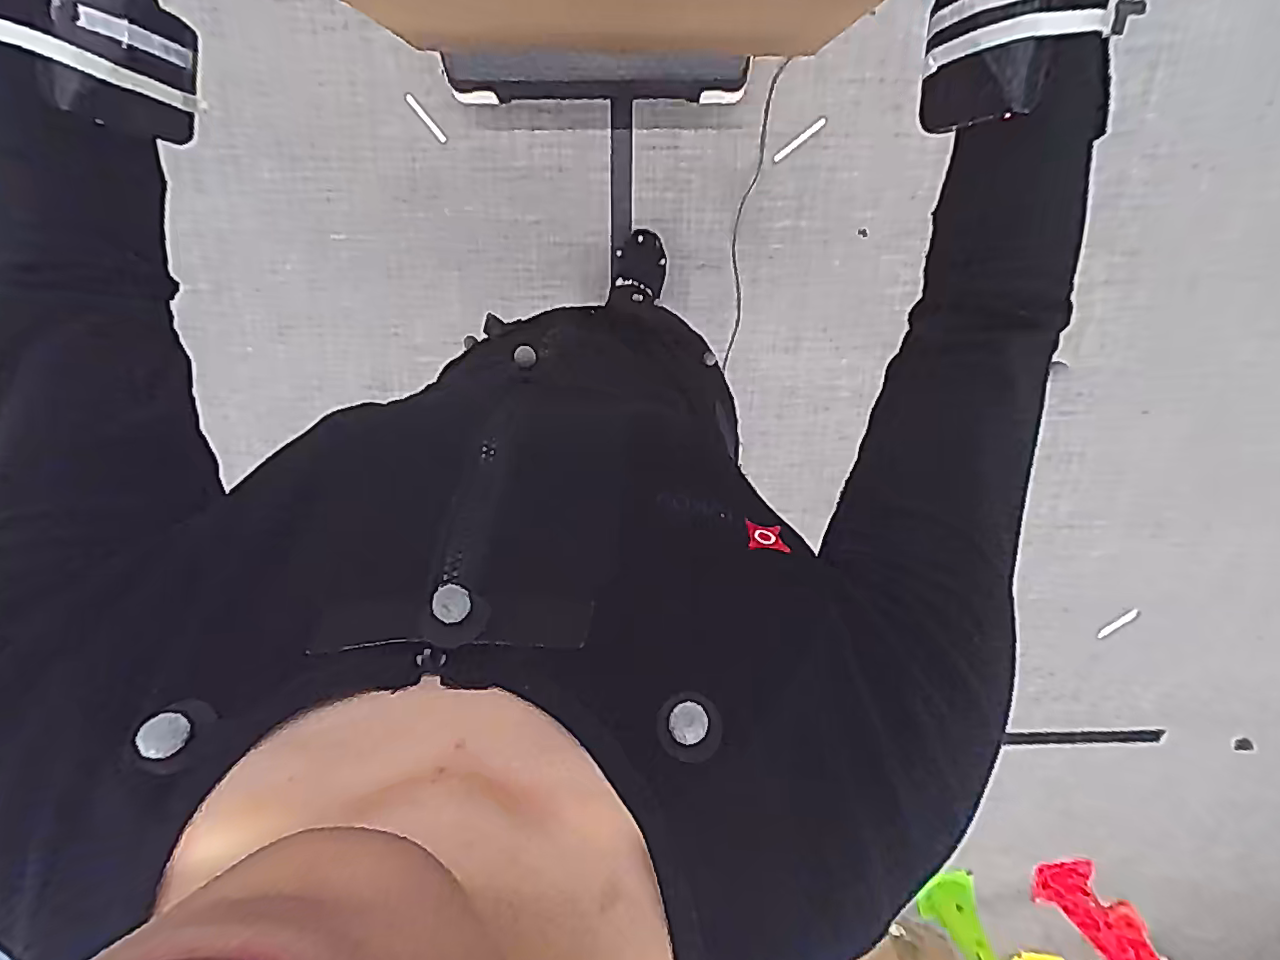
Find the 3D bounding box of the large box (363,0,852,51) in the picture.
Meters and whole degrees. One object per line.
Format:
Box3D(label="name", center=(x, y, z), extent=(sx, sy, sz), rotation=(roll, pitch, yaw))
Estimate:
Box3D(label="large box", center=(-0.022, -0.504, 0.343), extent=(0.408, 0.320, 0.320), rotation=(-1, 119, -1))
